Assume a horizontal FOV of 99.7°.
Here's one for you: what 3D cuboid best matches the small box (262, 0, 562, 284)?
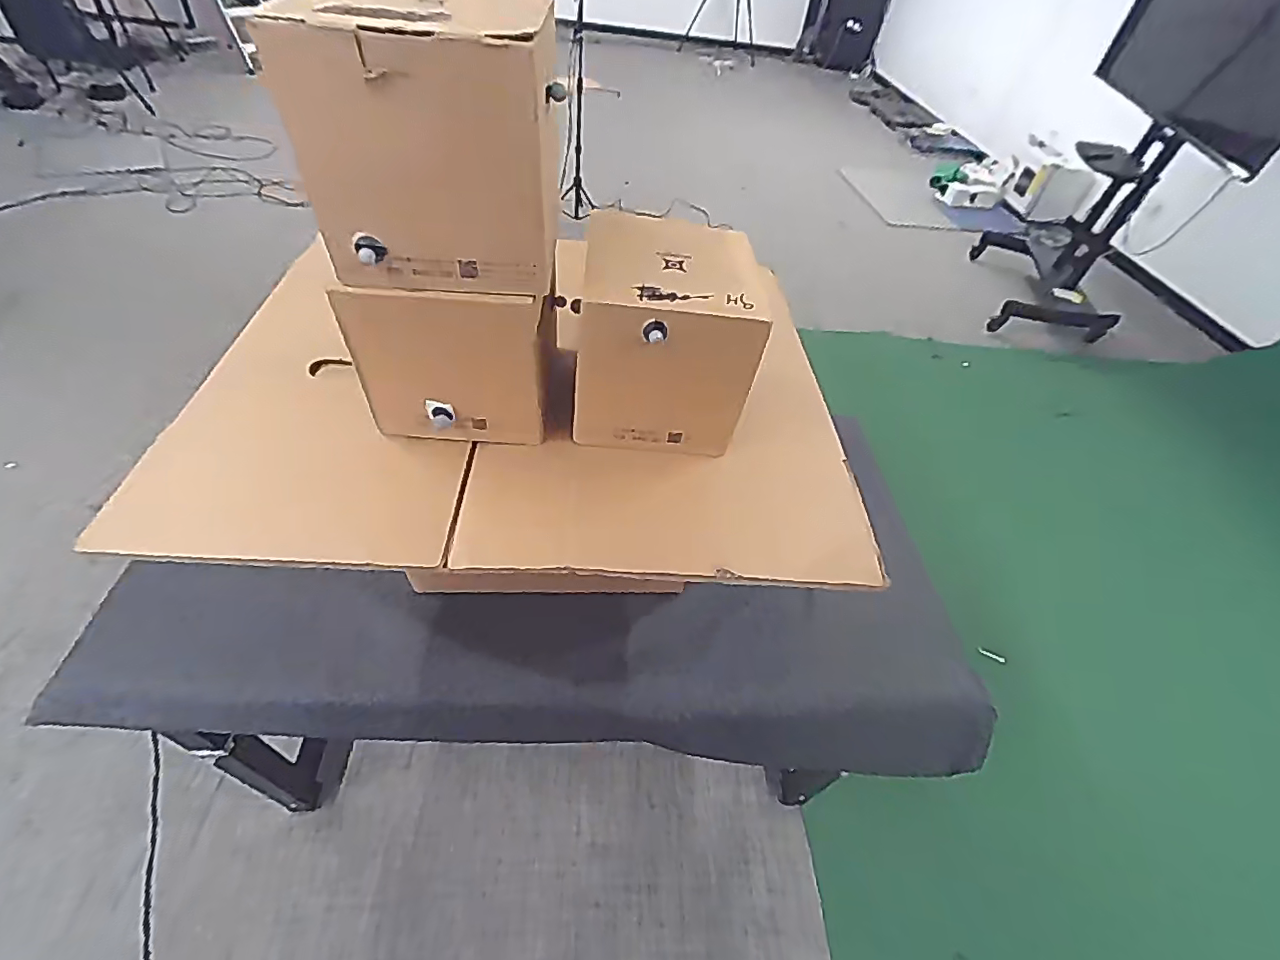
[{"bbox_3d":[-0.153,-0.278,0.442,0.168,0.176,0.179,2,48,-5],"label":"small box"}]

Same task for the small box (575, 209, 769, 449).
[{"bbox_3d":[0.021,-0.158,0.576,0.168,0.176,0.179,5,48,-6],"label":"small box"}]
